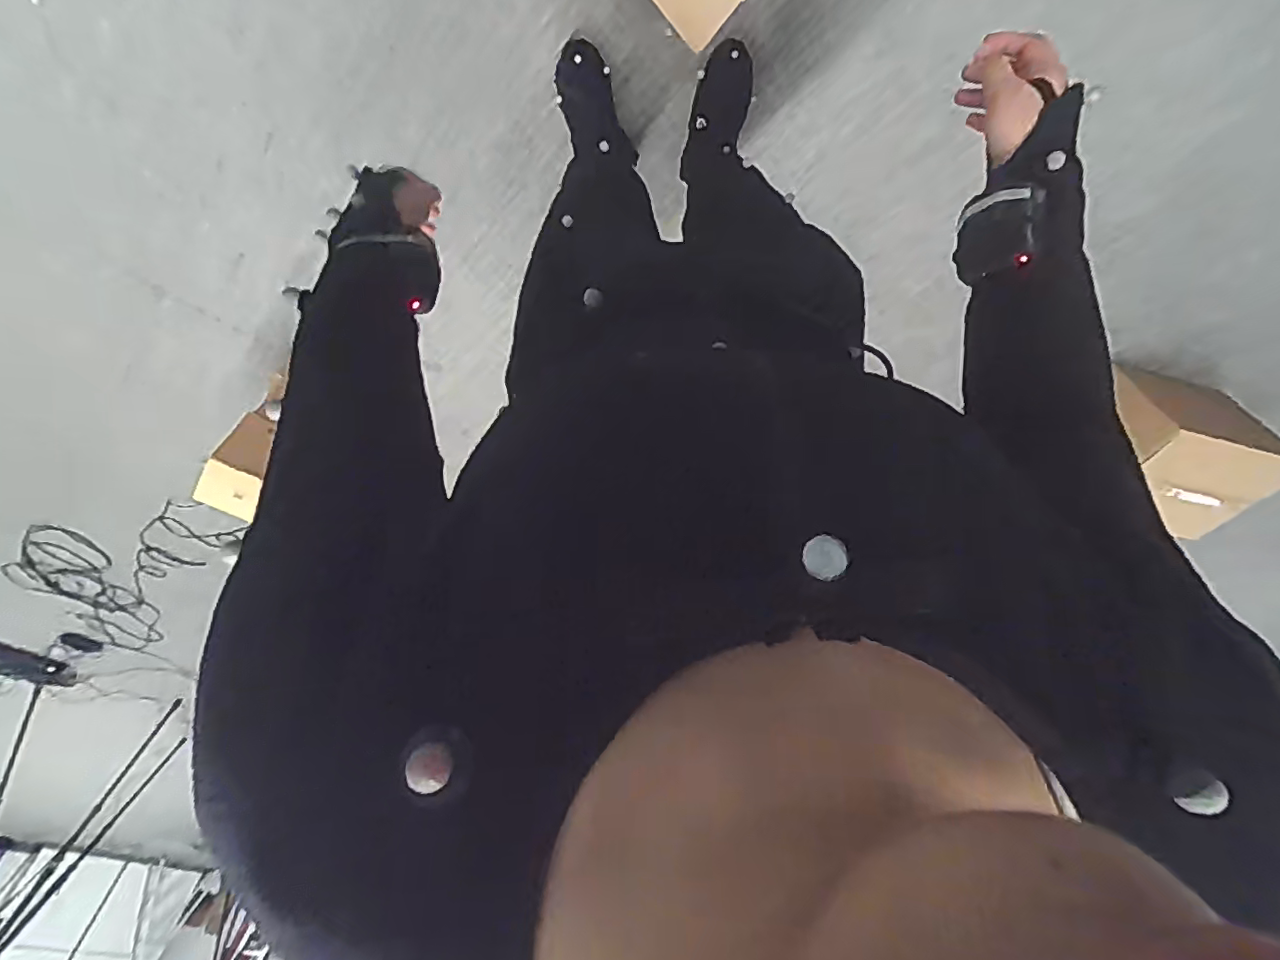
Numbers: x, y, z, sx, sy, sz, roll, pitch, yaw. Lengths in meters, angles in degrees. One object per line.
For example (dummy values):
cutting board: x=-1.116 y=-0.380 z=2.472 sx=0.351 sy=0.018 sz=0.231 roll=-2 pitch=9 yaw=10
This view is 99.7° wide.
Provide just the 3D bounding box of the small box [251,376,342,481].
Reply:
small box: x=-0.922 y=-0.136 z=1.426 sx=0.168 sy=0.176 sz=0.179 roll=33 pitch=126 yaw=-28

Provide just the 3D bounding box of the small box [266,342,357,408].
small box: x=-0.933 y=-0.258 z=1.536 sx=0.168 sy=0.176 sz=0.179 roll=31 pitch=129 yaw=-24

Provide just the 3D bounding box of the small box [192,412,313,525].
small box: x=-0.927 y=-0.028 z=1.305 sx=0.168 sy=0.176 sz=0.179 roll=32 pitch=127 yaw=-27
